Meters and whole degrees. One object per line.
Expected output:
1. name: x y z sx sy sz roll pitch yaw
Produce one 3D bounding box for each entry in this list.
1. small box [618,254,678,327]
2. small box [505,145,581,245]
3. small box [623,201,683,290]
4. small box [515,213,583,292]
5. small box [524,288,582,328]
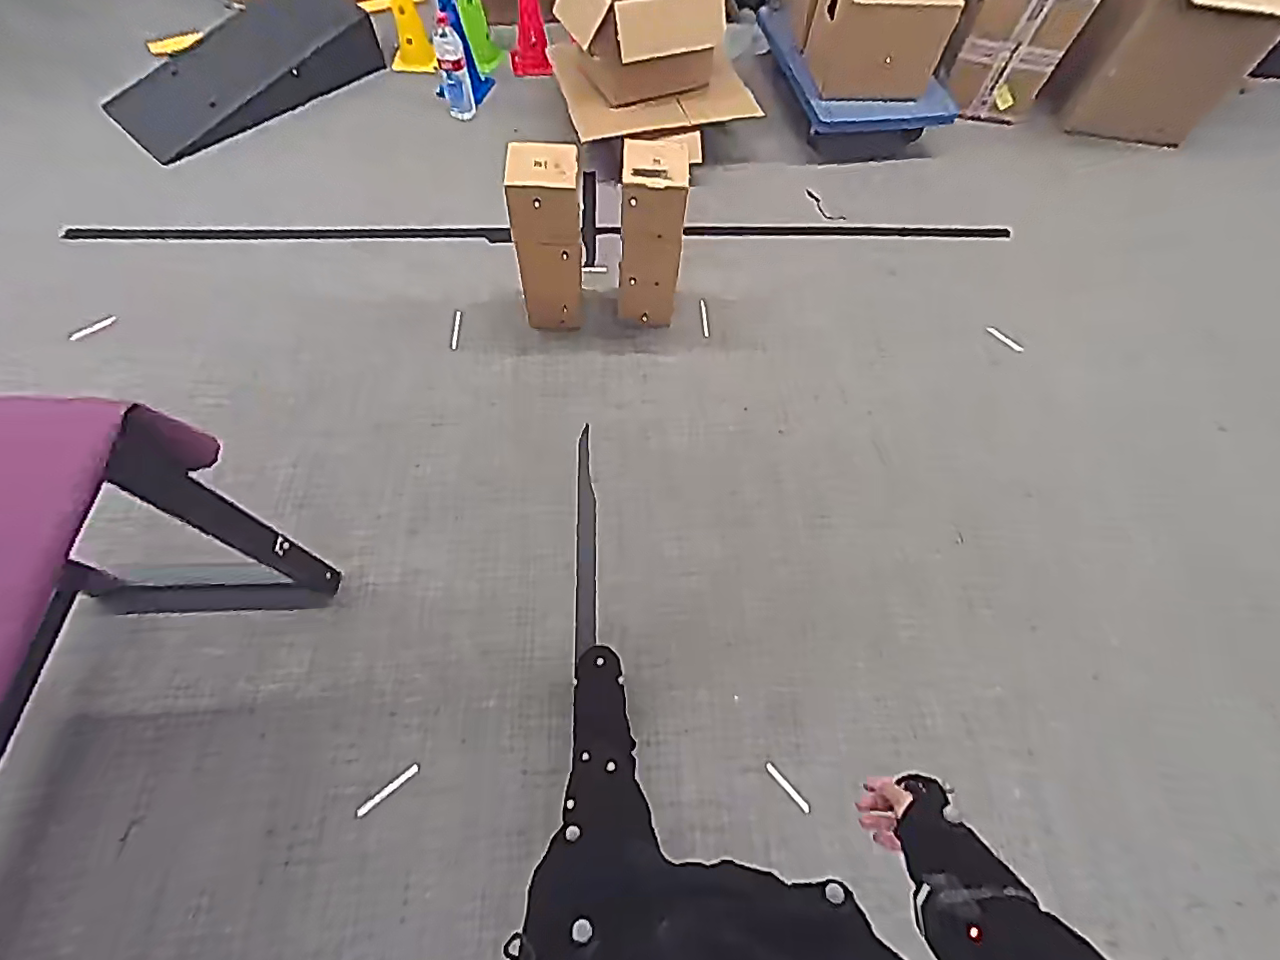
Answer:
1. small box: 0.023 -0.609 1.720 0.179 0.176 0.168 4 64 -3
2. small box: -0.244 -0.732 1.399 0.179 0.176 0.168 0 64 -5
3. small box: 0.036 -0.677 1.570 0.168 0.176 0.179 2 63 -3
4. small box: -0.254 -0.658 1.546 0.179 0.176 0.168 0 64 -5
5. small box: -0.267 -0.593 1.695 0.168 0.176 0.179 -1 63 -6
